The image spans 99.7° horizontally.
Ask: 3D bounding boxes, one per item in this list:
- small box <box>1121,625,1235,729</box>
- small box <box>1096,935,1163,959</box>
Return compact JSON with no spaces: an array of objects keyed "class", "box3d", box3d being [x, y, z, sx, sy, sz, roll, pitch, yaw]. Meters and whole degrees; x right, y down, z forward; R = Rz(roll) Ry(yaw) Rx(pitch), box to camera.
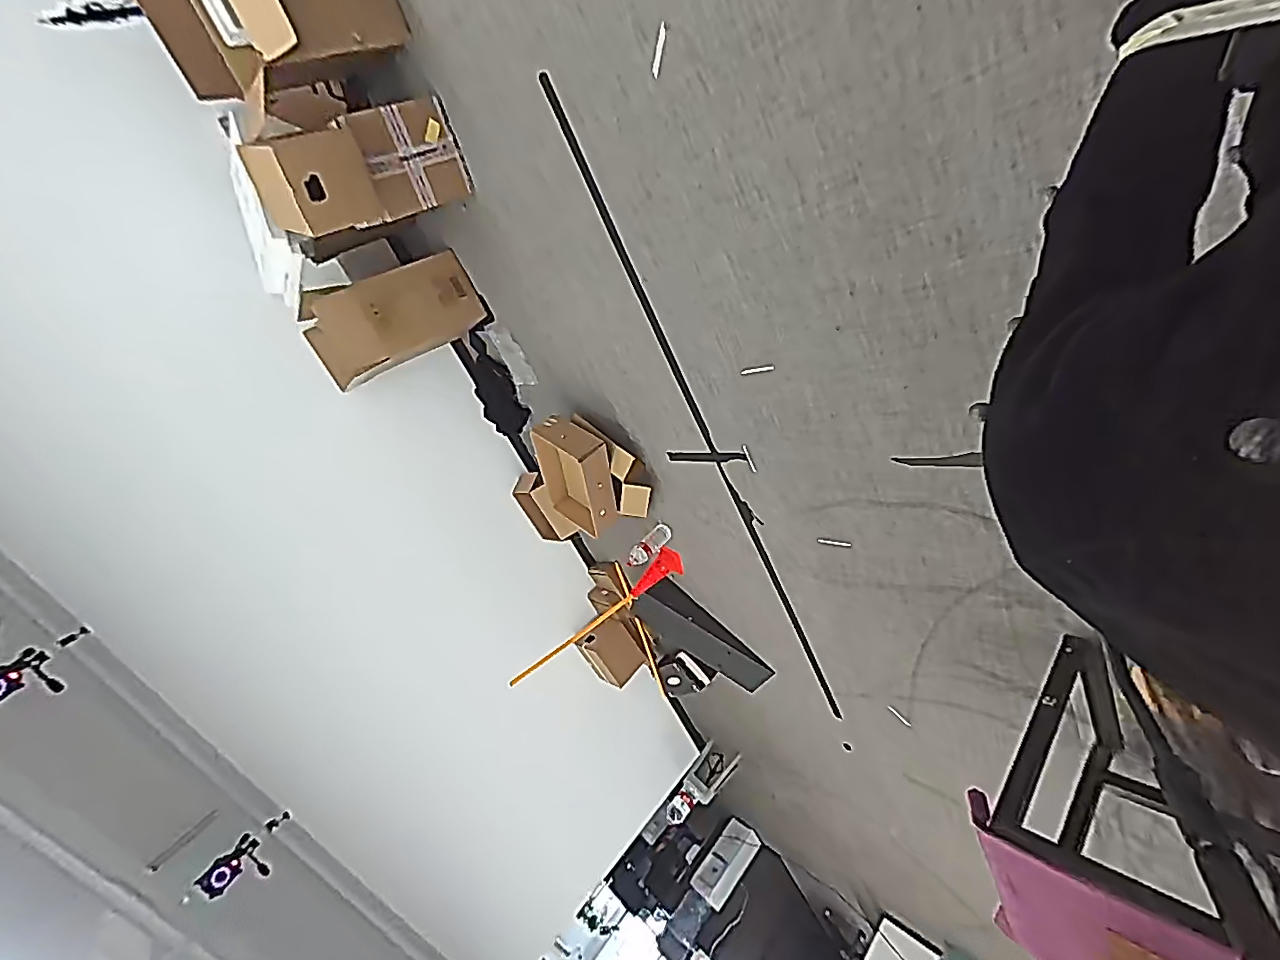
[{"class":"small box","box3d":[1.460,0.525,1.470,0.179,0.176,0.168,20,139,41]},{"class":"small box","box3d":[1.103,1.145,1.174,0.179,0.176,0.168,5,129,52]}]
